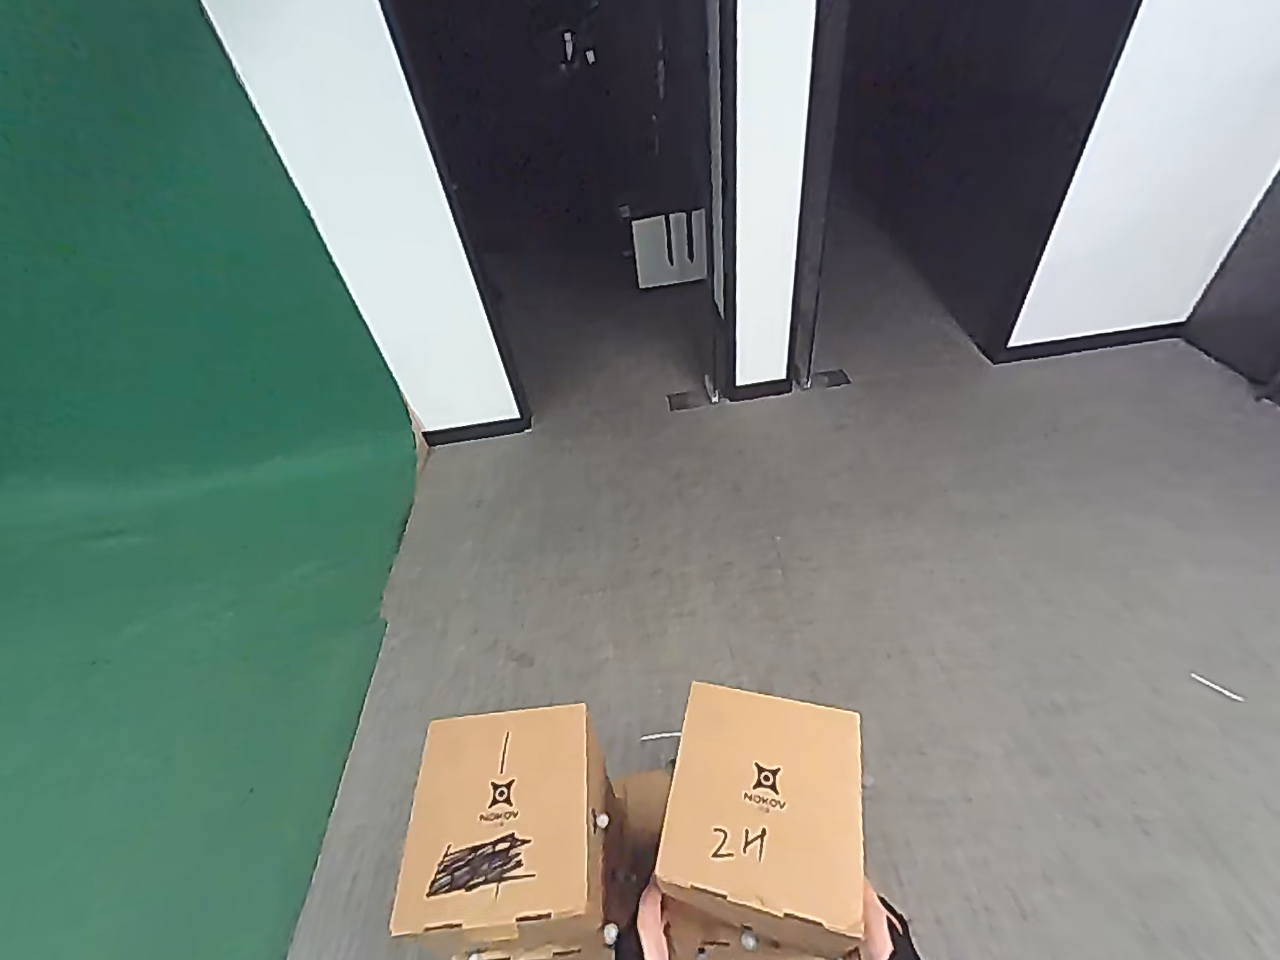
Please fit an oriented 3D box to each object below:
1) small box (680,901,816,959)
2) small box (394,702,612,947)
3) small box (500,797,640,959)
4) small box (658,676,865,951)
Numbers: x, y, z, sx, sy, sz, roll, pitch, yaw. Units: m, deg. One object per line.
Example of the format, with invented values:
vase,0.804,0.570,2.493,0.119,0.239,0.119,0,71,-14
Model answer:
small box,0.143,0.566,0.766,0.168,0.176,0.179,-4,45,7
small box,-0.121,0.356,0.556,0.168,0.176,0.179,-6,43,-1
small box,-0.091,0.587,0.787,0.168,0.176,0.179,-5,44,1
small box,0.122,0.329,0.539,0.168,0.176,0.179,5,46,15
